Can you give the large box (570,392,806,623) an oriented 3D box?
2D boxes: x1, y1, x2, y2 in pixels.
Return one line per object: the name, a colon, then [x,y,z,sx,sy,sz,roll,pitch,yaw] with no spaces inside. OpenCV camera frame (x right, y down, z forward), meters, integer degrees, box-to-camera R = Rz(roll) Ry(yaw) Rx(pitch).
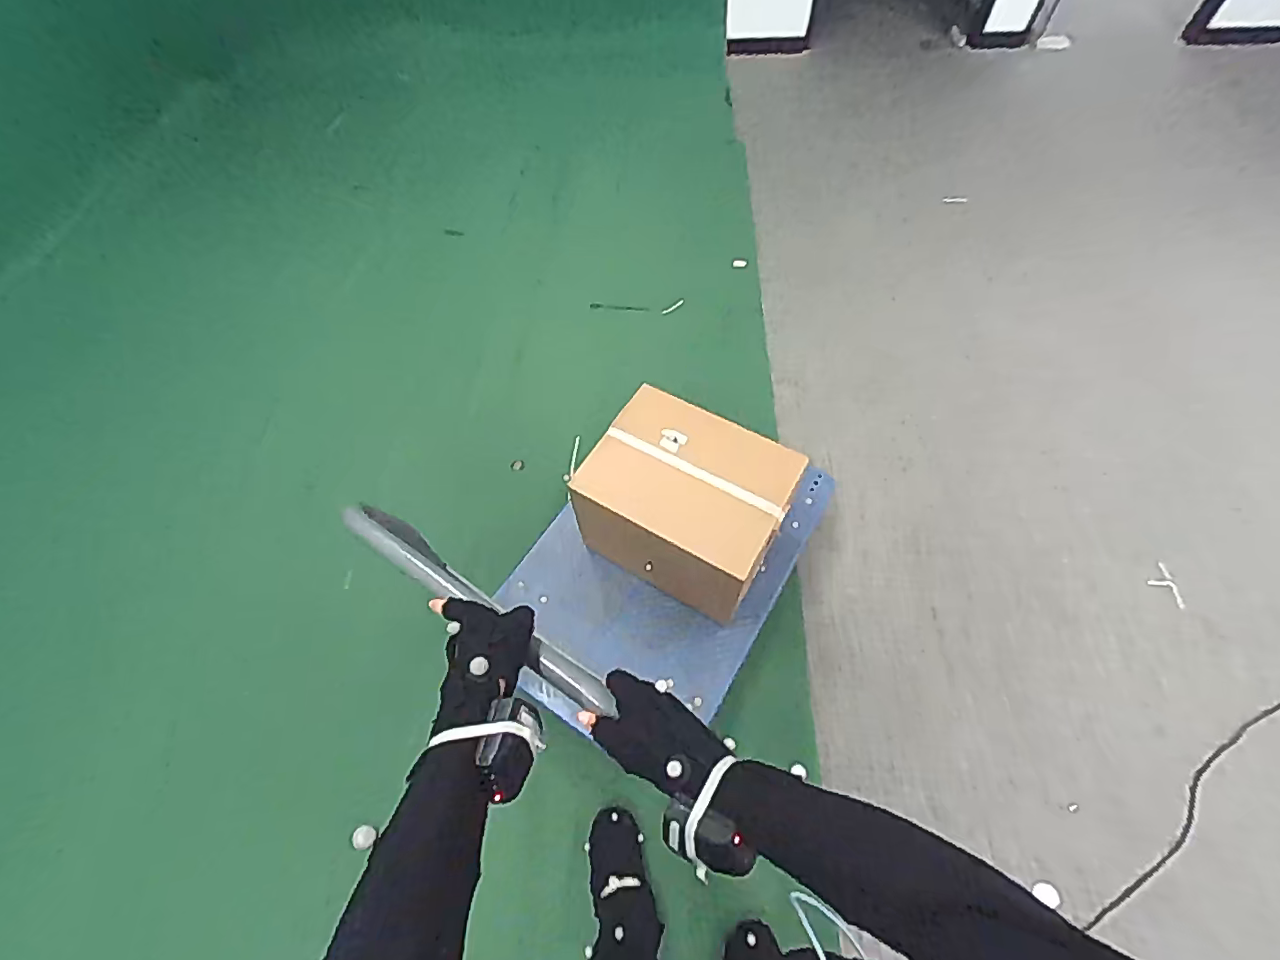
large box: [0.109,0.068,1.245,0.408,0.320,0.320,27,63,17]
